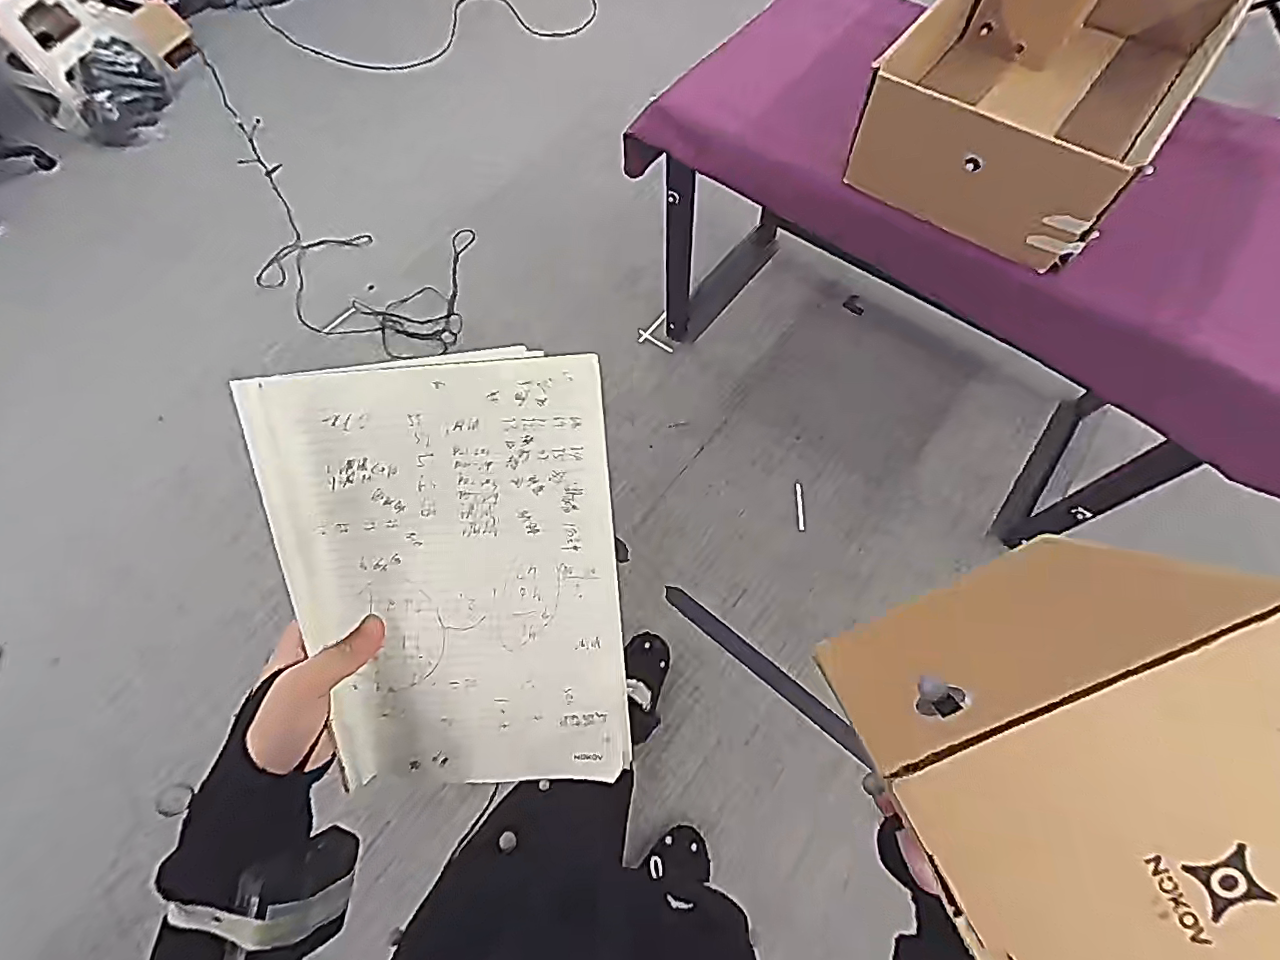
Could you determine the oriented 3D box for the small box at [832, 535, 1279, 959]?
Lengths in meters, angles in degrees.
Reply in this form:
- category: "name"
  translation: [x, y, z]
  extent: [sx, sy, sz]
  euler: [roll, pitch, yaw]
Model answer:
- category: "small box"
  translation: [0.227, 0.142, 0.277]
  extent: [0.179, 0.176, 0.168]
  euler: [-29, 87, 8]
